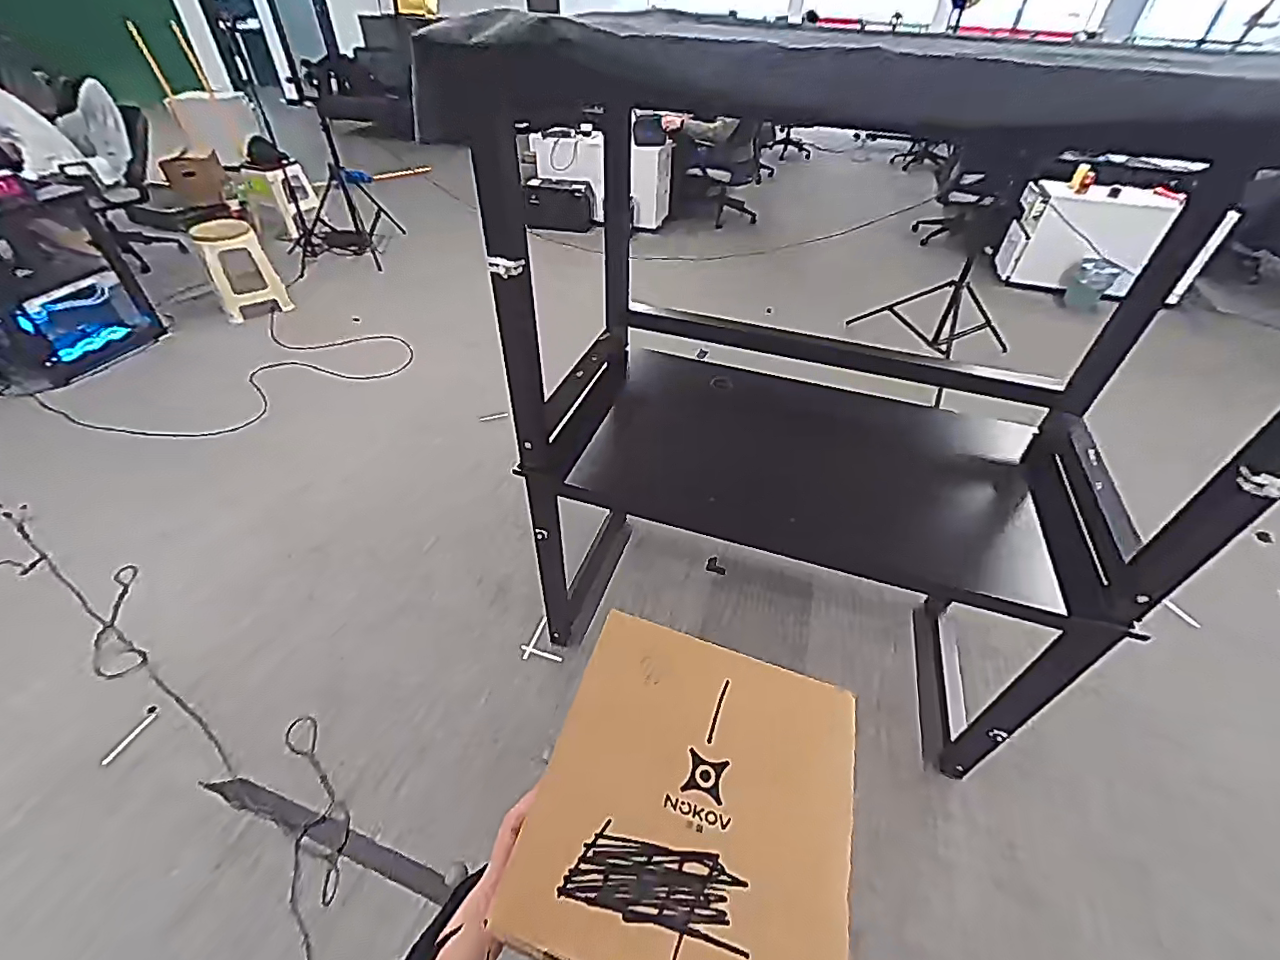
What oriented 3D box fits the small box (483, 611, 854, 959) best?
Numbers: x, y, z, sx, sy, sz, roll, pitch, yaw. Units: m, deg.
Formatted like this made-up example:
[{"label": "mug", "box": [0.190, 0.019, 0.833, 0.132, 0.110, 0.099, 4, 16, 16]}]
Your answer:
[{"label": "small box", "box": [0.023, 0.222, 0.350, 0.168, 0.176, 0.179, 17, 46, 8]}]
